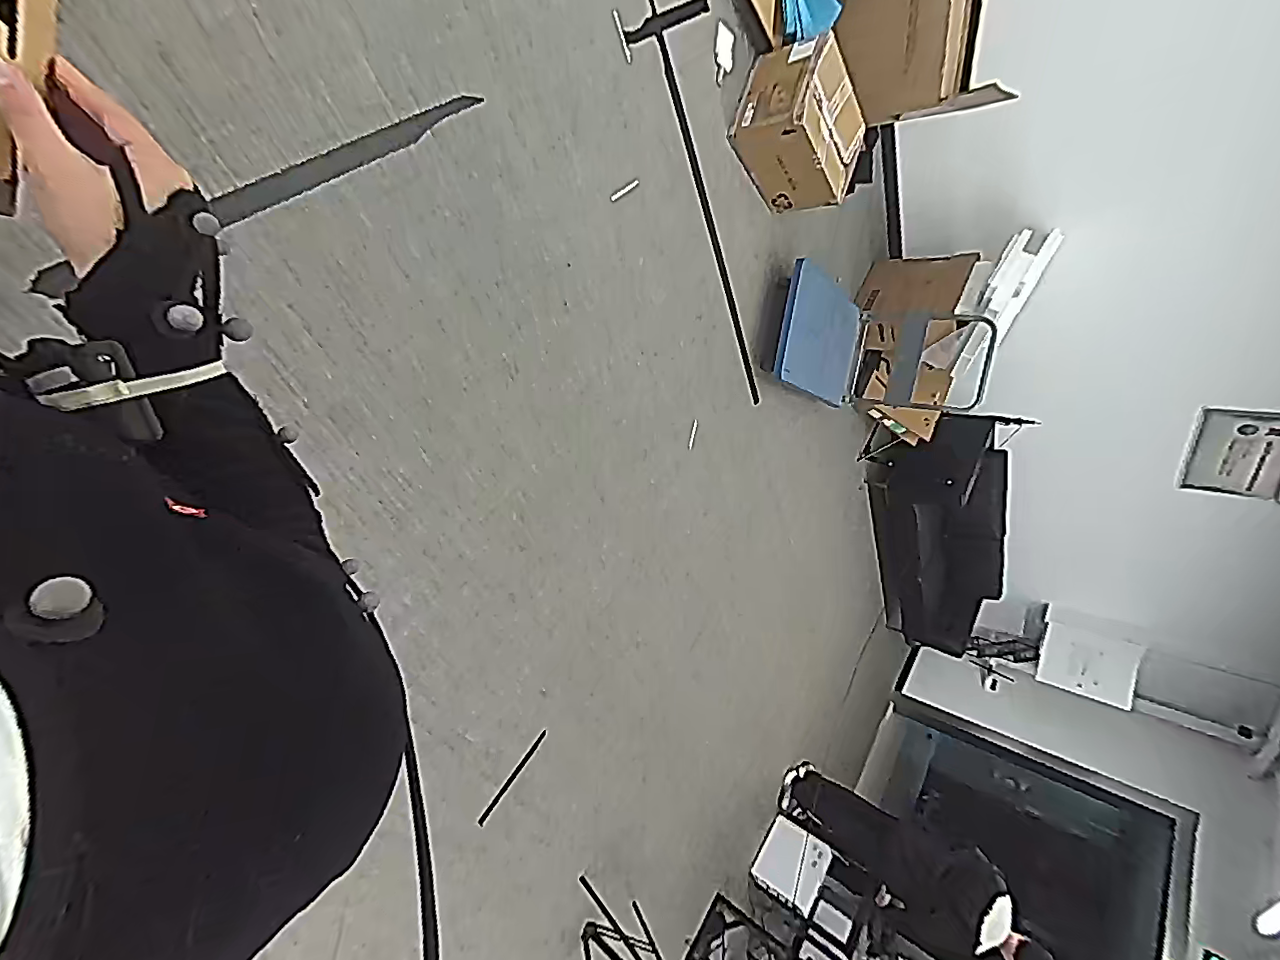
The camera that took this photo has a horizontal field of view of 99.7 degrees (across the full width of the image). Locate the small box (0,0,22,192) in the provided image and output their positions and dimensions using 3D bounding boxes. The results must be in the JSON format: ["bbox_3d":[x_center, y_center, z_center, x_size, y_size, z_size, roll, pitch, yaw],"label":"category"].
[{"bbox_3d":[-0.428,-0.254,0.257,0.179,0.176,0.168,1,101,-48],"label":"small box"}]
